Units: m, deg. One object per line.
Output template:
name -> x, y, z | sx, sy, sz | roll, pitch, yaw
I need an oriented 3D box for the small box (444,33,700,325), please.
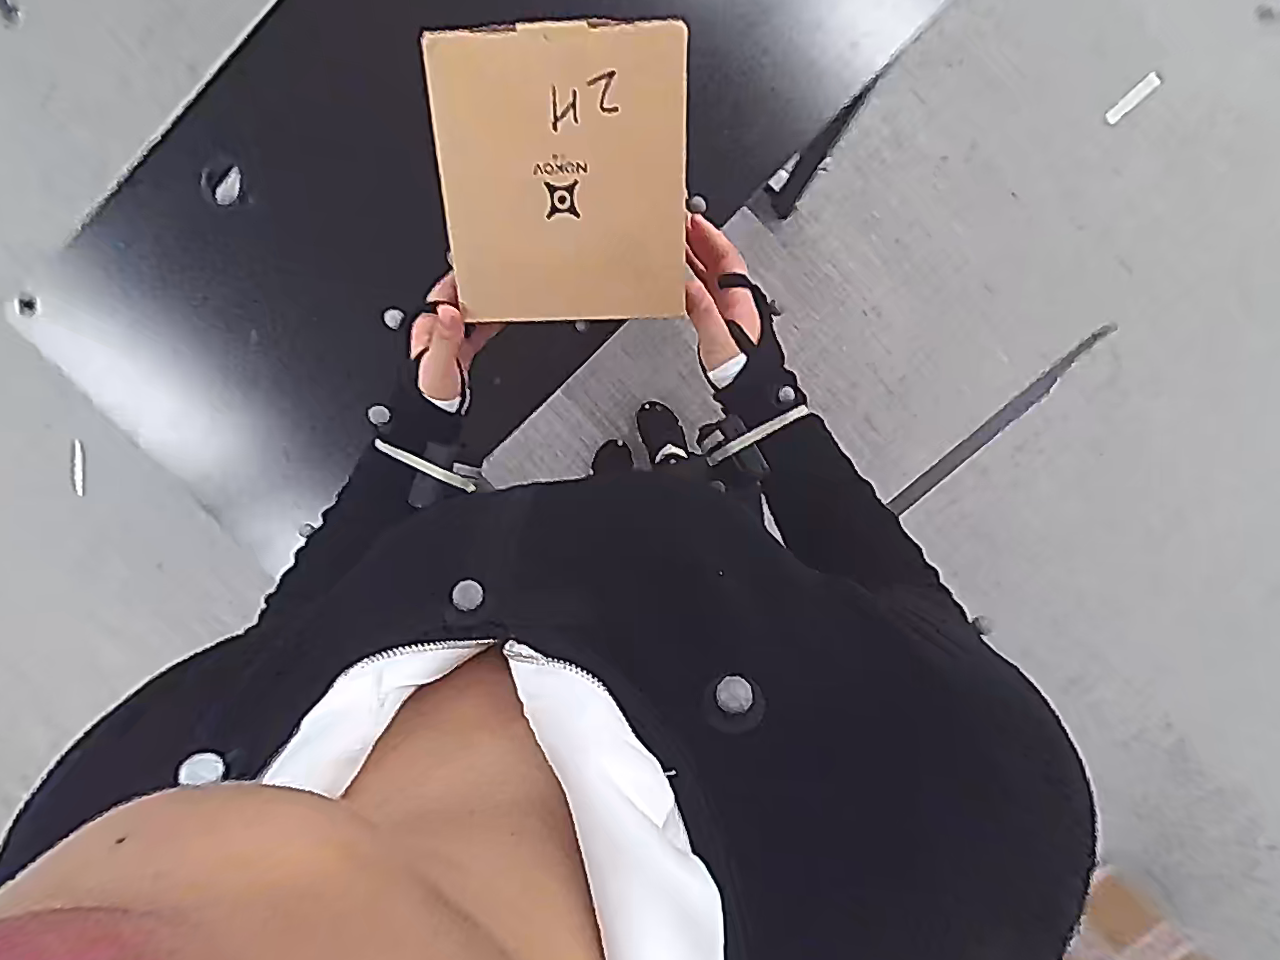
small box -> -0.040, -0.224, 0.441 | 0.168, 0.176, 0.179 | 2, 109, 2
